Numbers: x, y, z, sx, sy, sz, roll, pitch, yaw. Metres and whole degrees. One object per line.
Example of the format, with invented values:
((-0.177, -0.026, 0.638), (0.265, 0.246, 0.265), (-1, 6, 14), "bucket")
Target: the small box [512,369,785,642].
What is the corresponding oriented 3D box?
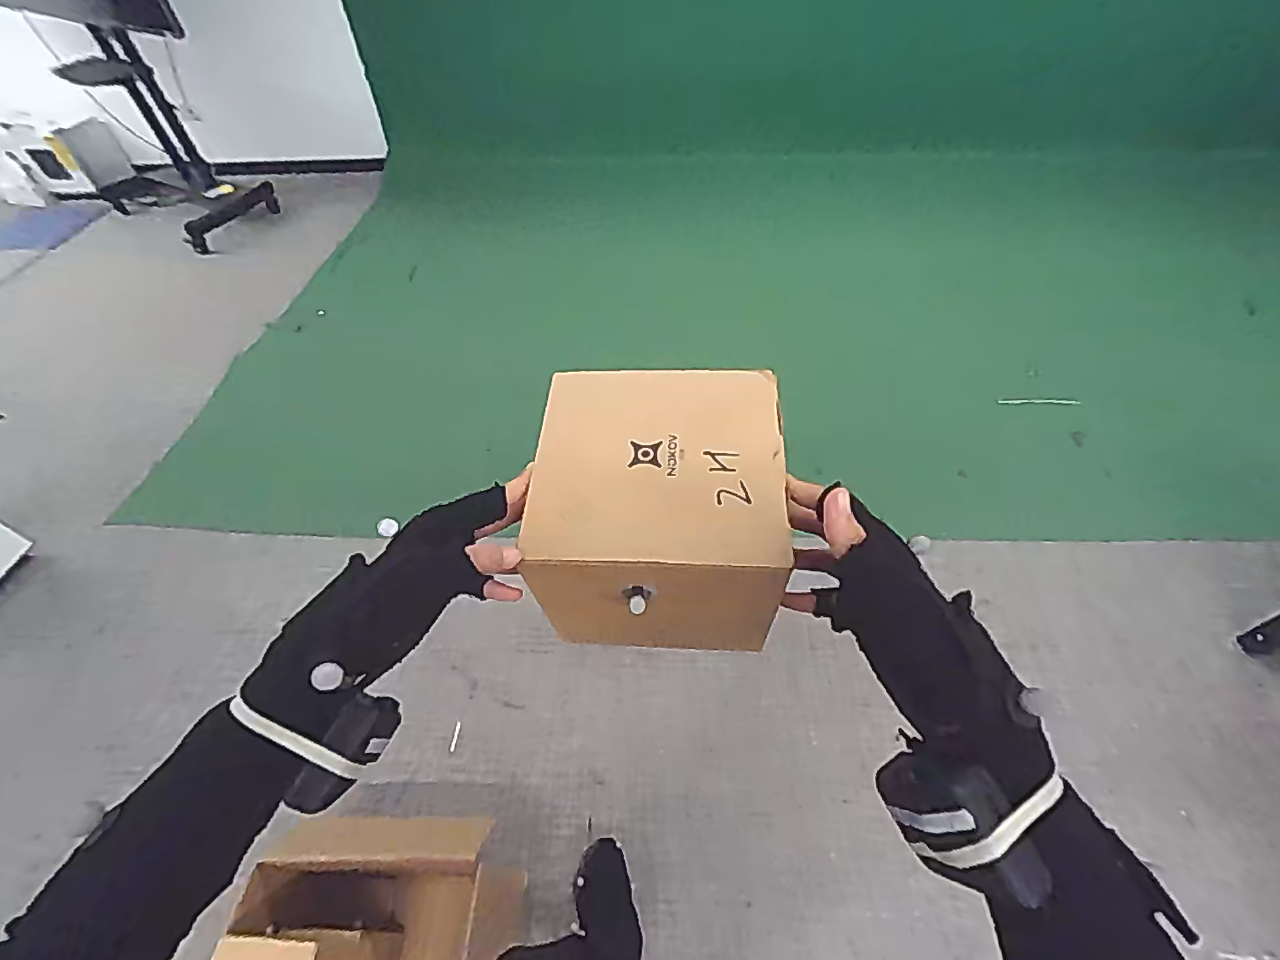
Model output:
((0.015, 0.027, 0.447), (0.179, 0.176, 0.168), (2, 57, 5), "small box")
